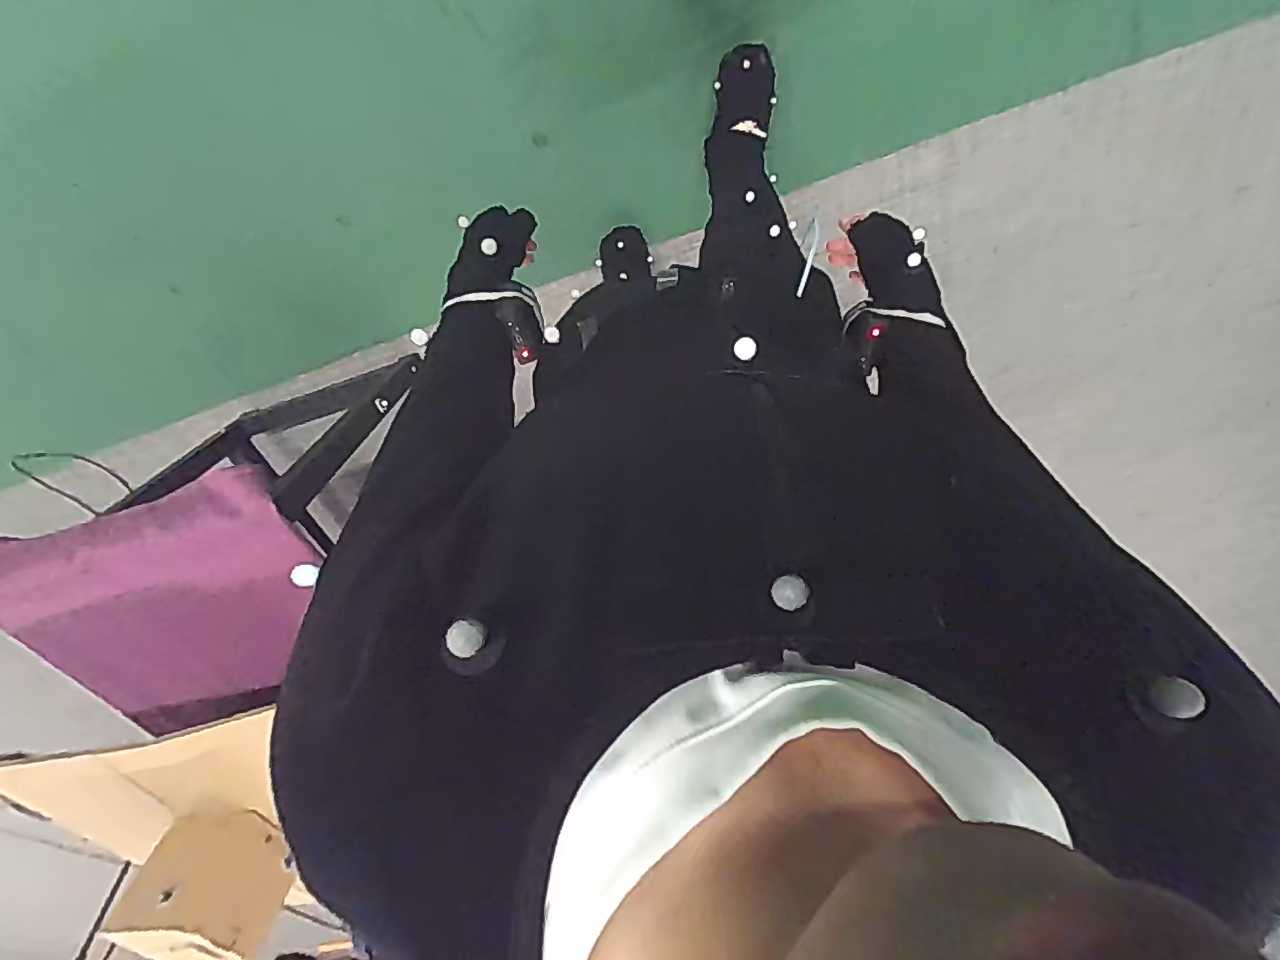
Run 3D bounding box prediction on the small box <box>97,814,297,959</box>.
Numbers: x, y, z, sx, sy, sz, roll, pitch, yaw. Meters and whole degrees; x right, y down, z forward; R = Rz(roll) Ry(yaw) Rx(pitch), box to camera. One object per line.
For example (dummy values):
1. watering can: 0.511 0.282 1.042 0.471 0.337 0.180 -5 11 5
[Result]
1. small box: -0.730 0.697 0.923 0.179 0.176 0.168 -16 122 11
